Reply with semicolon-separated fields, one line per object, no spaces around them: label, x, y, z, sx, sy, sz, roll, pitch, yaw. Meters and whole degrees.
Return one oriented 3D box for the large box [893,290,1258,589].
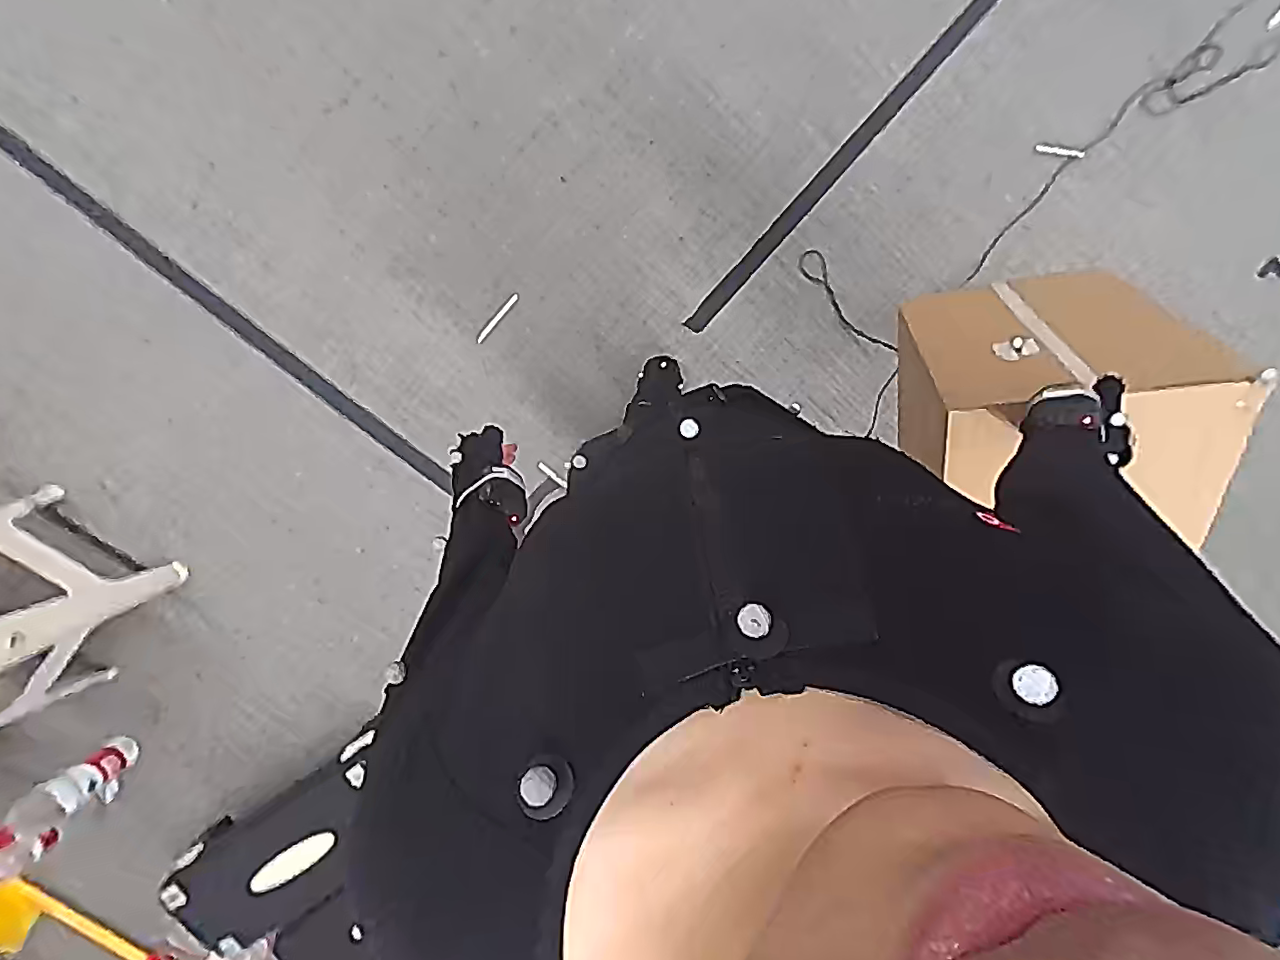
large box;0.617;-0.074;0.883;0.320;0.408;0.320;-5;126;18
